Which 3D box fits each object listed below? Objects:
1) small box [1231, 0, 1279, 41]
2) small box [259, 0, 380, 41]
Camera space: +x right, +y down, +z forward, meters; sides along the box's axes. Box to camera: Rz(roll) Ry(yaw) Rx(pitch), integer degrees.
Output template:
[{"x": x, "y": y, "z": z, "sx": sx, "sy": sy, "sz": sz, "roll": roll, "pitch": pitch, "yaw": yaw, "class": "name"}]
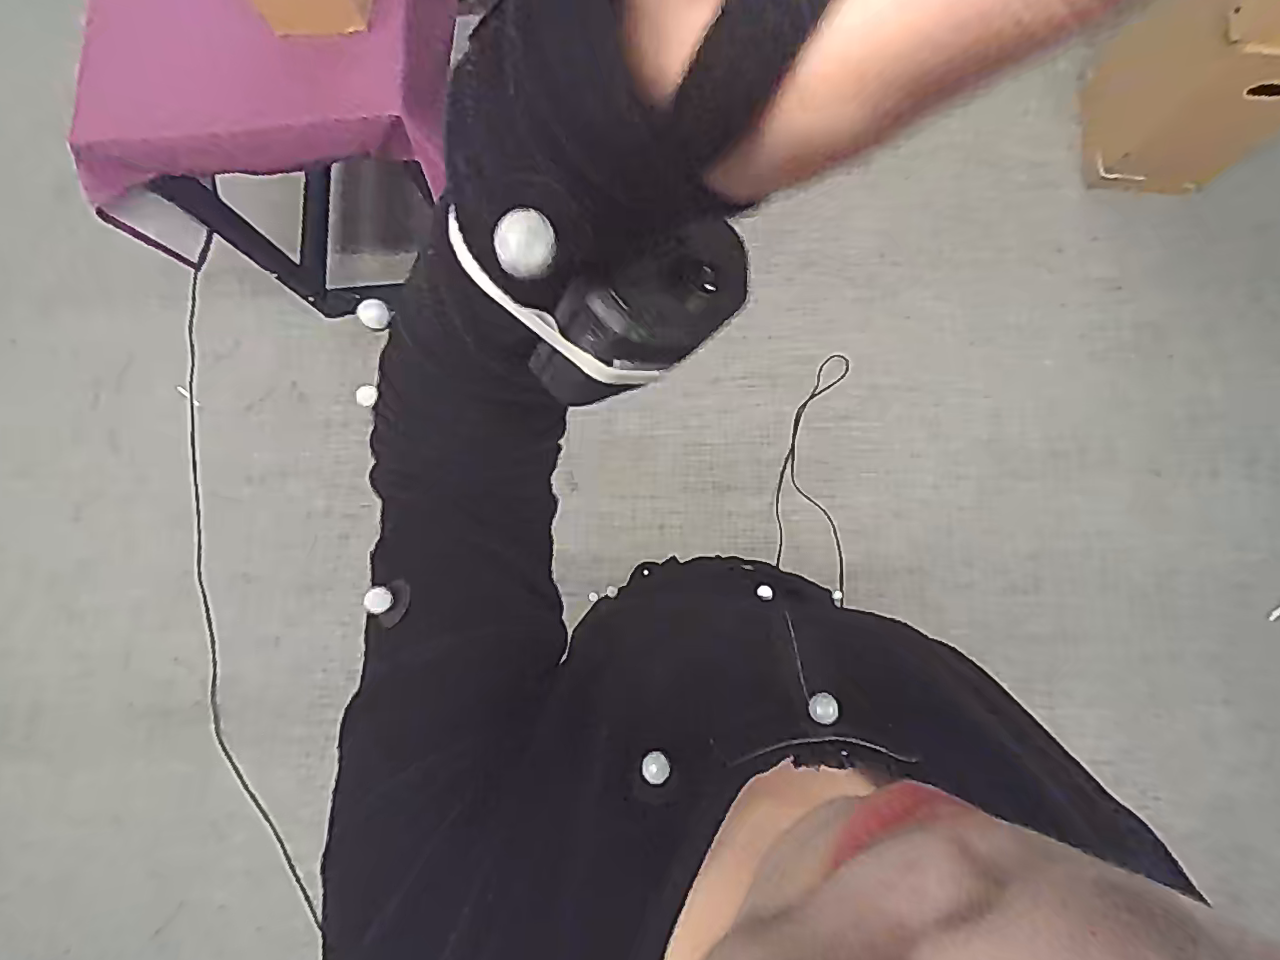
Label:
[{"x": 1.423, "y": -1.071, "z": 1.140, "sx": 0.179, "sy": 0.176, "sz": 0.168, "roll": 7, "pitch": 80, "yaw": 2, "class": "small box"}, {"x": -0.574, "y": -0.900, "z": 0.928, "sx": 0.179, "sy": 0.176, "sz": 0.168, "roll": 2, "pitch": 81, "yaw": 2, "class": "small box"}]
